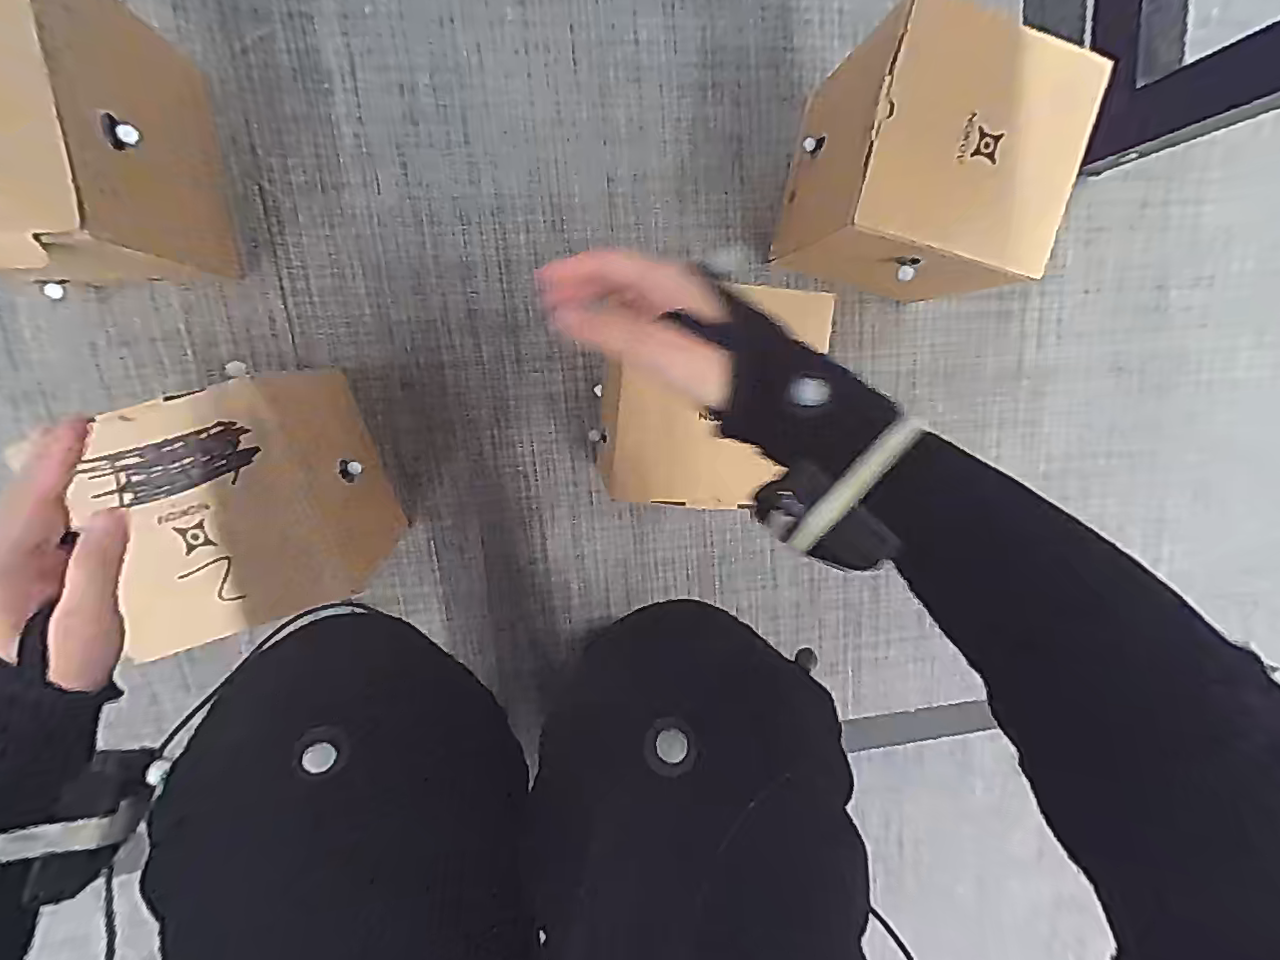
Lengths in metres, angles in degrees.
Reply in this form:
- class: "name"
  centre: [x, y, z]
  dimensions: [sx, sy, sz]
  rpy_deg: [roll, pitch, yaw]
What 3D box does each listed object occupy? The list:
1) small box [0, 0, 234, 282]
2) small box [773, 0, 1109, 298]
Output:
- class: "small box"
  centre: [-0.434, -0.243, 0.387]
  dimensions: [0.168, 0.176, 0.179]
  rpy_deg: [-5, 101, -8]
- class: "small box"
  centre: [0.249, -0.271, 0.491]
  dimensions: [0.179, 0.176, 0.168]
  rpy_deg: [11, 100, -10]
